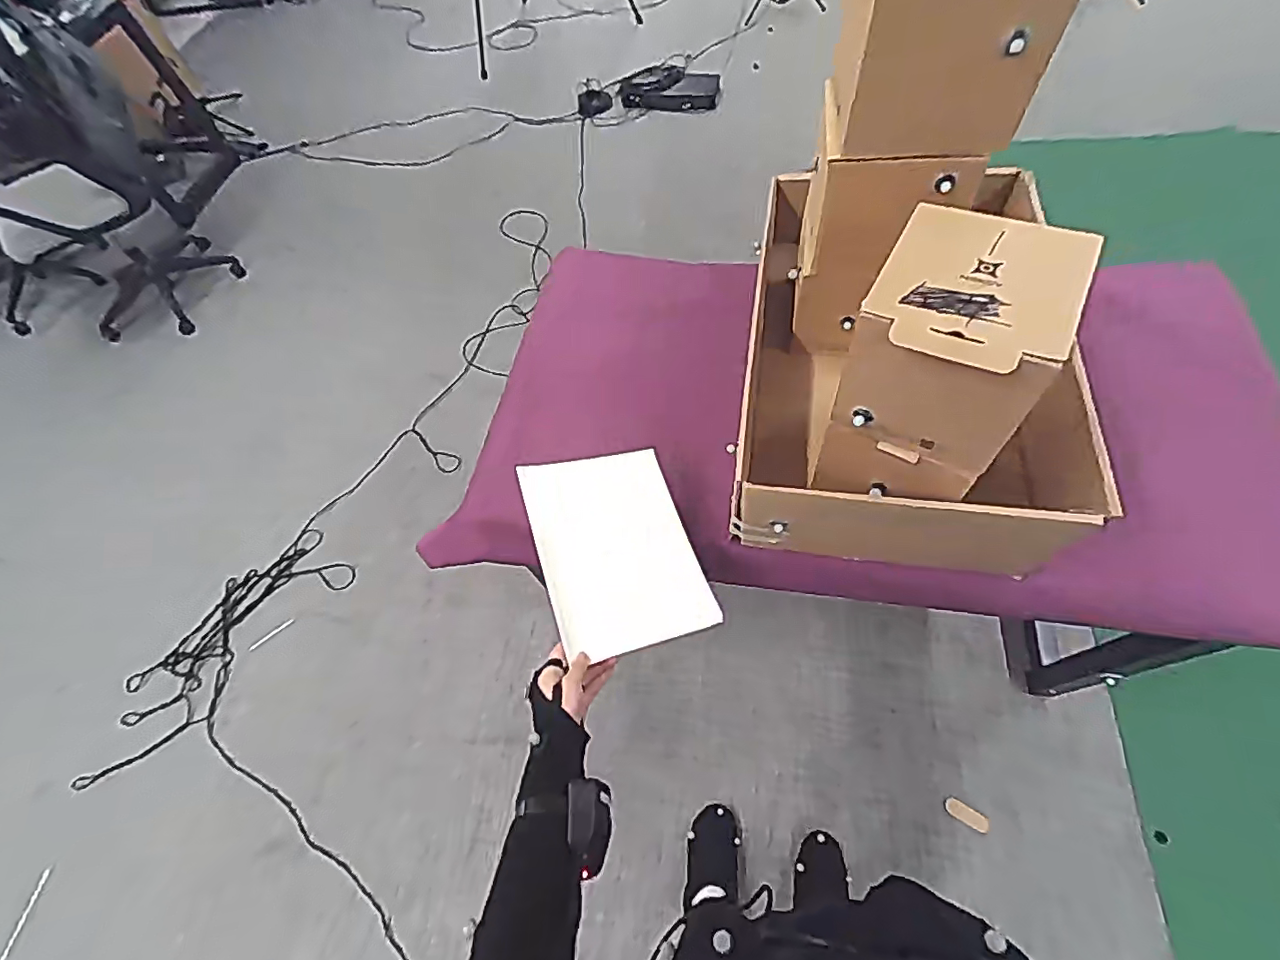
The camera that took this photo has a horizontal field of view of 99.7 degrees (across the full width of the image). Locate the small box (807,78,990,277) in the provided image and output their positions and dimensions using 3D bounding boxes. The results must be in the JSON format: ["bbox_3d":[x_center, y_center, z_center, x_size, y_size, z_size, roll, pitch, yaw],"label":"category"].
[{"bbox_3d":[0.316,-0.383,0.704,0.179,0.176,0.168,3,62,10],"label":"small box"}]

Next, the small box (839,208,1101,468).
[{"bbox_3d":[0.320,-0.141,0.557,0.168,0.176,0.179,24,65,22],"label":"small box"}]

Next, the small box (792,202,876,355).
[{"bbox_3d":[0.333,-0.309,0.847,0.168,0.176,0.179,6,63,12],"label":"small box"}]
